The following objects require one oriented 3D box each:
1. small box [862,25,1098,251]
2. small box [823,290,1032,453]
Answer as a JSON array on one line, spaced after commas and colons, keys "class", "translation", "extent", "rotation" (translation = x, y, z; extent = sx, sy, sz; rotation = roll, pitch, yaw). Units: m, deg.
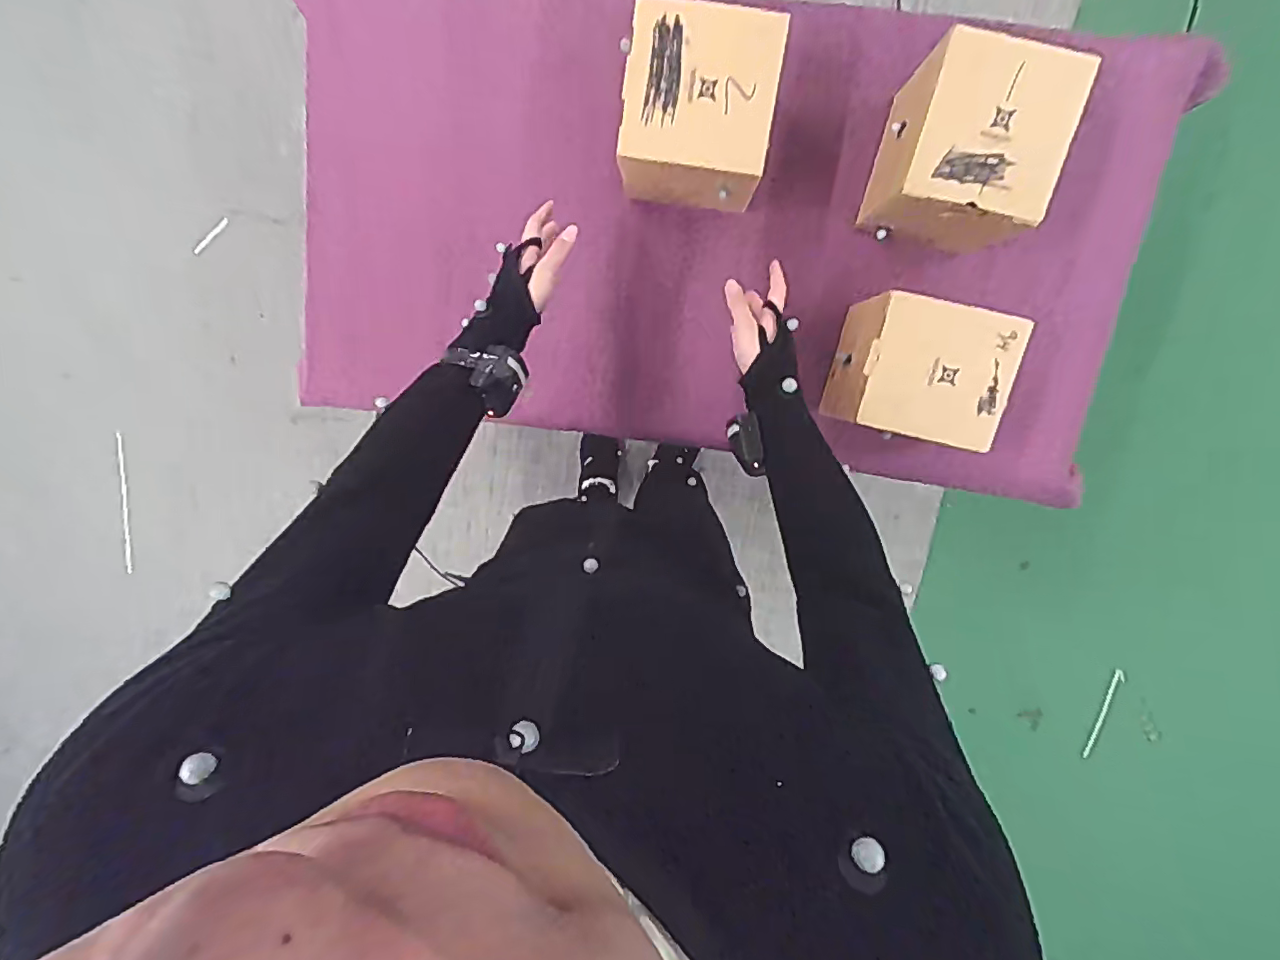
[{"class": "small box", "translation": [0.401, -0.406, 0.679], "extent": [0.168, 0.176, 0.179], "rotation": [14, 102, 0]}, {"class": "small box", "translation": [0.369, -0.143, 0.734], "extent": [0.179, 0.176, 0.168], "rotation": [14, 101, 1]}]
